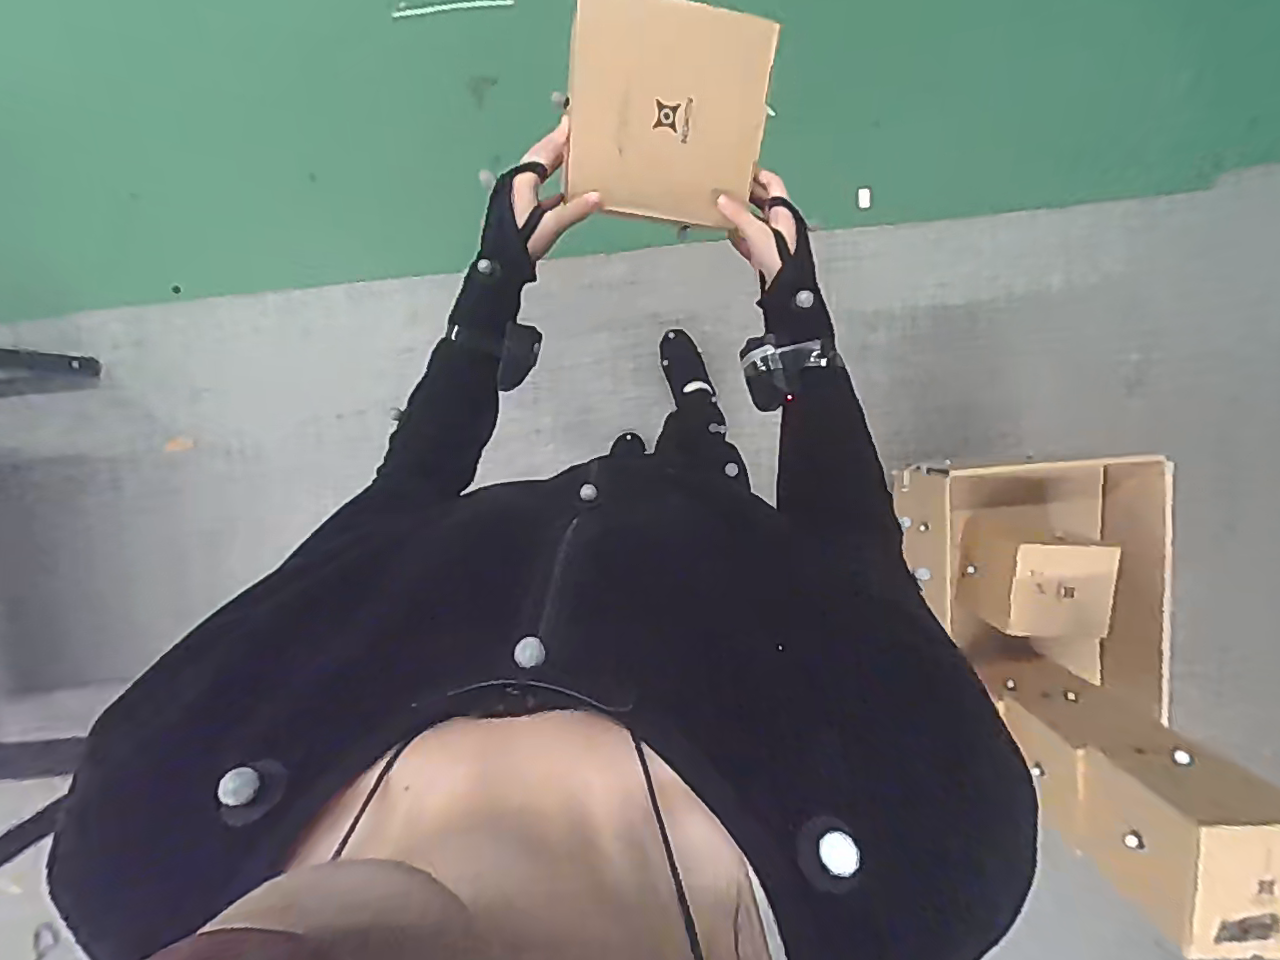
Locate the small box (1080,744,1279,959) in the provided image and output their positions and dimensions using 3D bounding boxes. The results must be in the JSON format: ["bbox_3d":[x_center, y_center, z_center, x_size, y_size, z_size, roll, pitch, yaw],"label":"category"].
[{"bbox_3d":[0.727,0.479,0.711,0.168,0.176,0.179,0,95,1],"label":"small box"}]

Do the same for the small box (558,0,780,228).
[{"bbox_3d":[0.012,-0.358,0.546,0.179,0.176,0.168,3,114,-11],"label":"small box"}]
